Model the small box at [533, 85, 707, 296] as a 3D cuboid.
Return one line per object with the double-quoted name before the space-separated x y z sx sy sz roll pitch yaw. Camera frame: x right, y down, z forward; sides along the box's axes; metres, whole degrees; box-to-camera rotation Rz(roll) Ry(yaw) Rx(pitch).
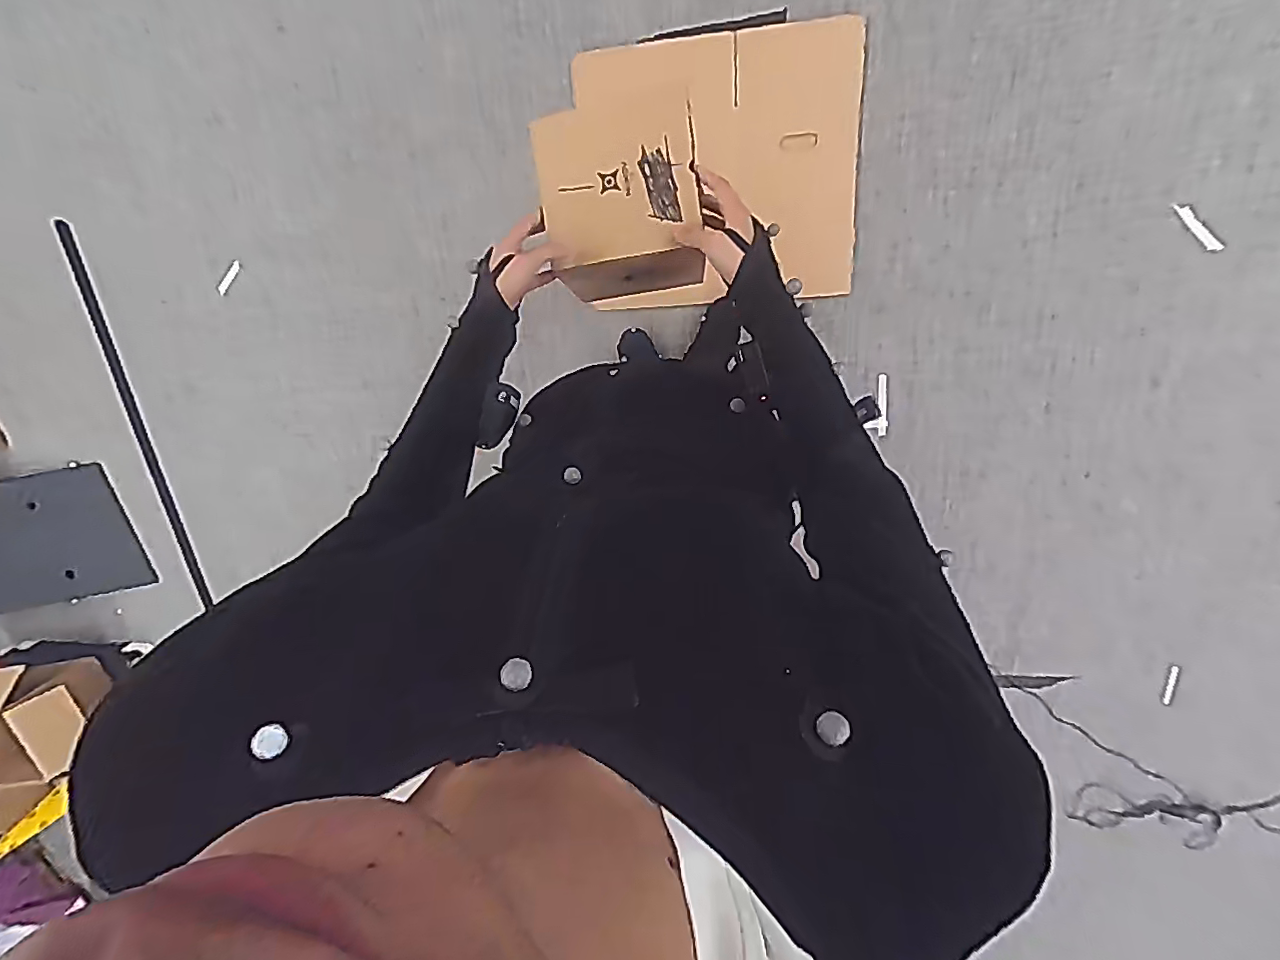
"small box" -0.015 -0.338 0.666 0.179 0.176 0.168 -7 96 7
